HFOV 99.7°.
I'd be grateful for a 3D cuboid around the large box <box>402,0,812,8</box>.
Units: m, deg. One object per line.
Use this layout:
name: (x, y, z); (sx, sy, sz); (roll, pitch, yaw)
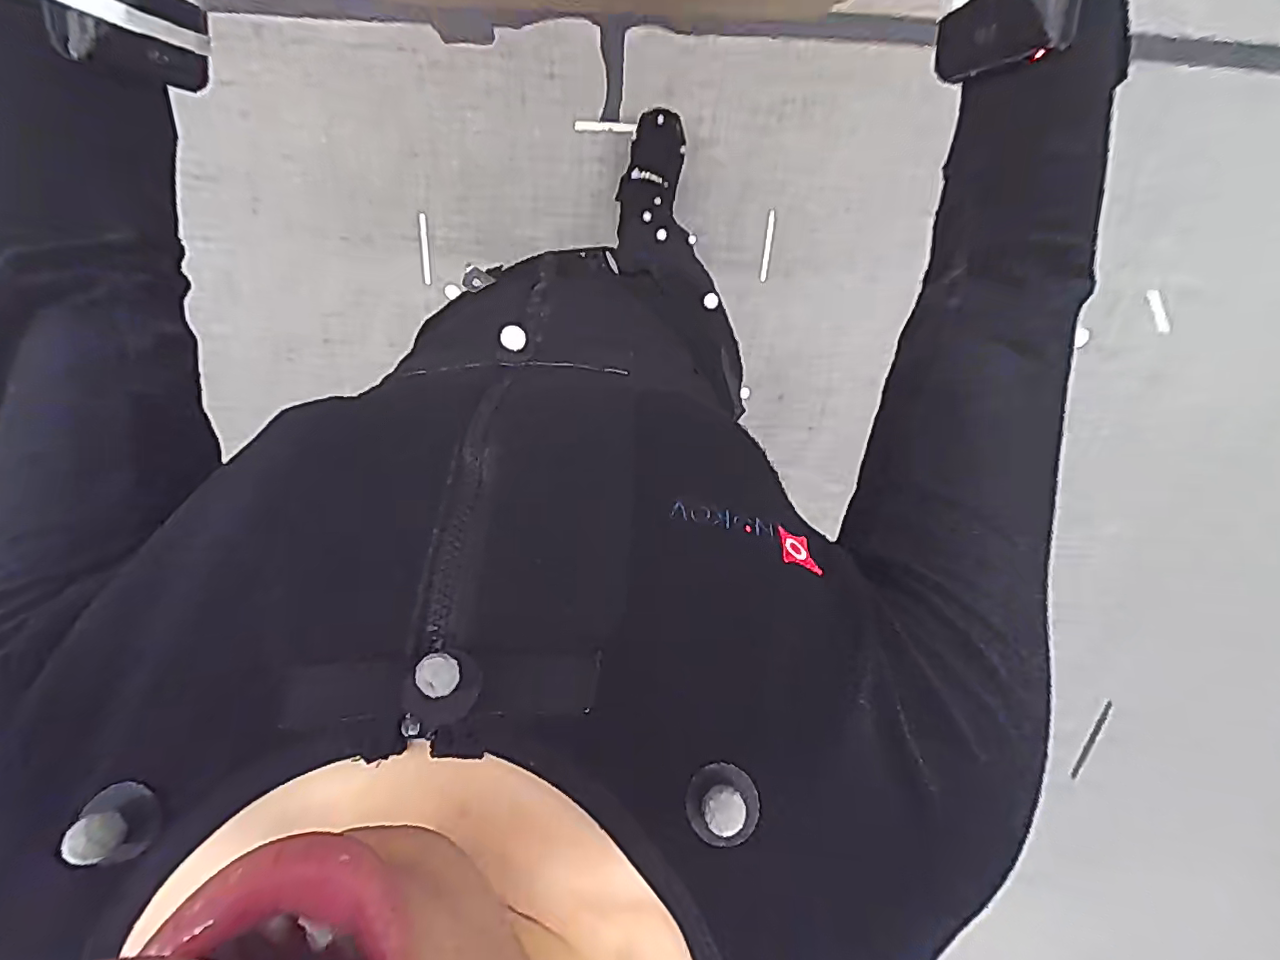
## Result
large box: (-0.027, -0.497, 0.308); (0.408, 0.320, 0.320); (0, 125, -2)
